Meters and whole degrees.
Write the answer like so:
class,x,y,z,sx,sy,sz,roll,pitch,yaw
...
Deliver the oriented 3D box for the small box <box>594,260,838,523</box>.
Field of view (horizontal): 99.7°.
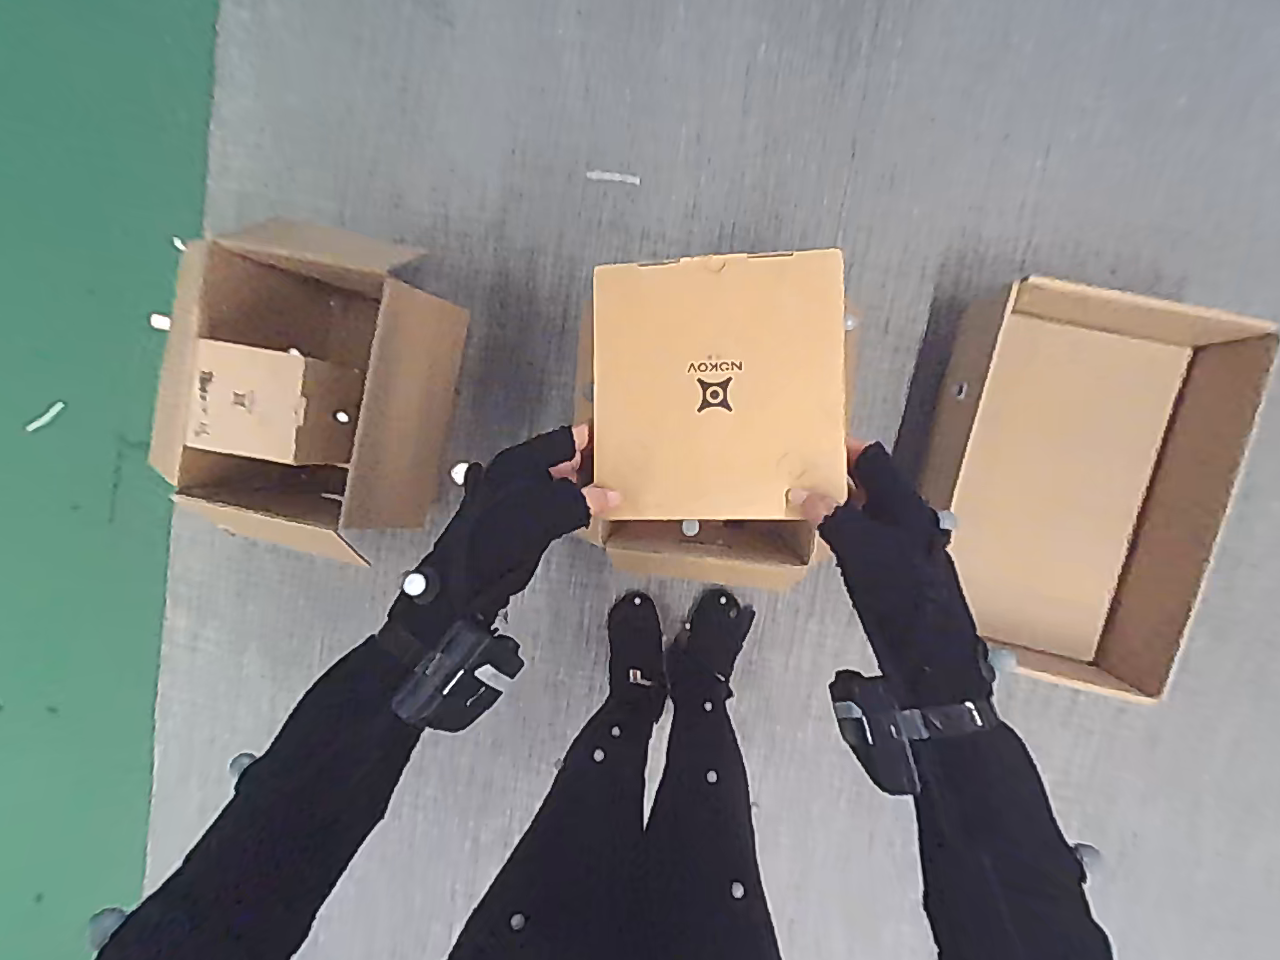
class,x,y,z,sx,sy,sz,roll,pitch,yaw
small box,0.061,-0.057,0.445,0.168,0.176,0.179,0,88,8
